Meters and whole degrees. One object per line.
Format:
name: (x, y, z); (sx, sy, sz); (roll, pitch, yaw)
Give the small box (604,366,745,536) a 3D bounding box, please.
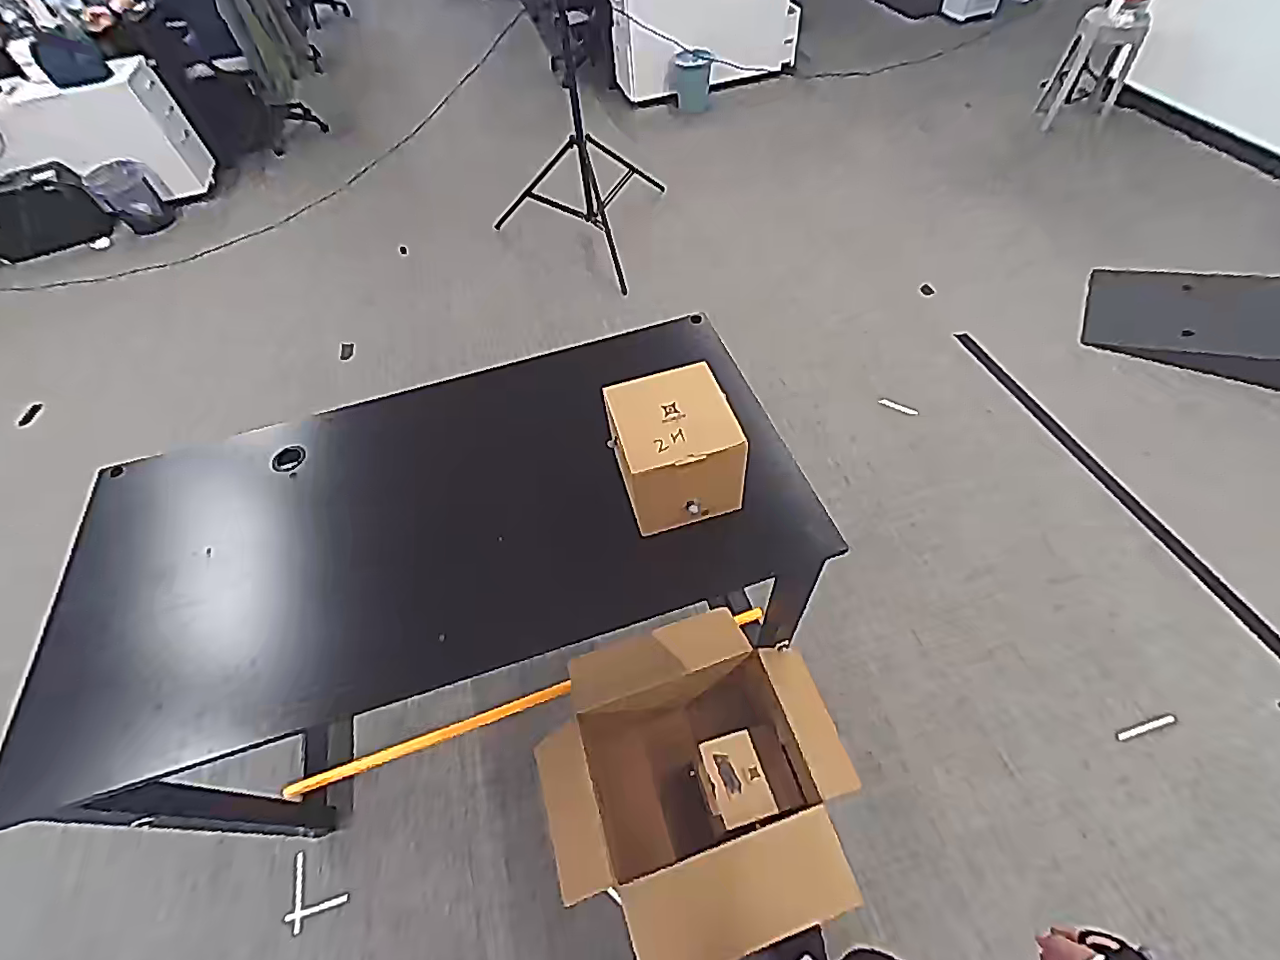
small box: (0.050, -0.042, 0.834); (0.168, 0.176, 0.179); (-16, 54, -4)
